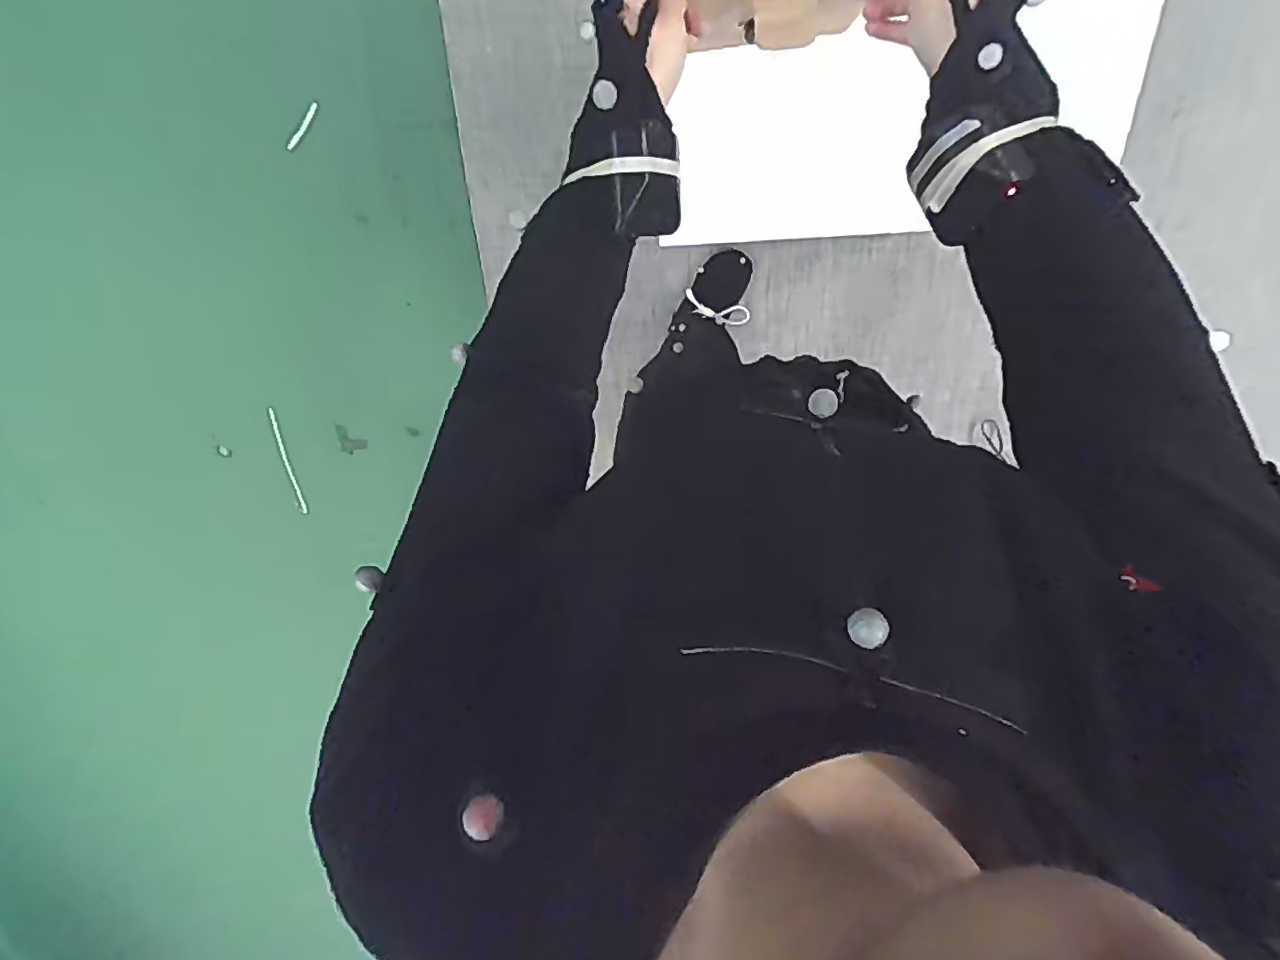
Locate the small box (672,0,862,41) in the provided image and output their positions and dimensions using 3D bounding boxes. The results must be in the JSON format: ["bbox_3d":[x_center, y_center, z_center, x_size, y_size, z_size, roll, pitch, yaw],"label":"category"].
[{"bbox_3d":[0.103,-0.468,0.405,0.168,0.176,0.179,-3,117,5],"label":"small box"}]
